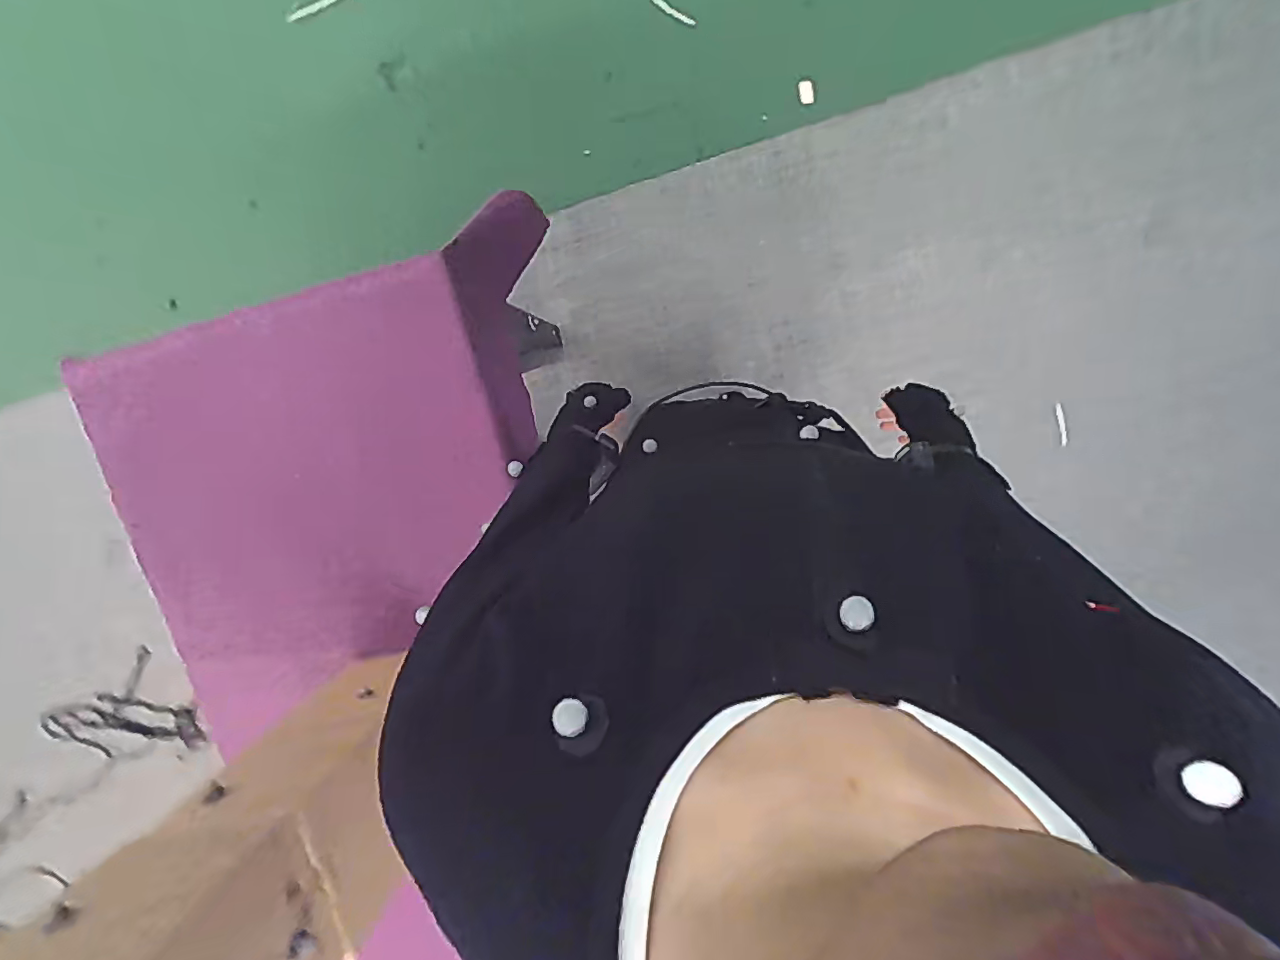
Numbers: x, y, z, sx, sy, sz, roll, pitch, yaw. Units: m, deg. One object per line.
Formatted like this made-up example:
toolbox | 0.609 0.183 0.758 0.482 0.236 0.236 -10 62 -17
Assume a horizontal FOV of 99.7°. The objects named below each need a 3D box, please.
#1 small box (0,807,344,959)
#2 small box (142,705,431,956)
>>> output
small box | -0.384 0.401 0.432 0.179 0.176 0.168 -14 98 7
small box | -0.365 0.375 0.591 0.179 0.176 0.168 -13 98 7
